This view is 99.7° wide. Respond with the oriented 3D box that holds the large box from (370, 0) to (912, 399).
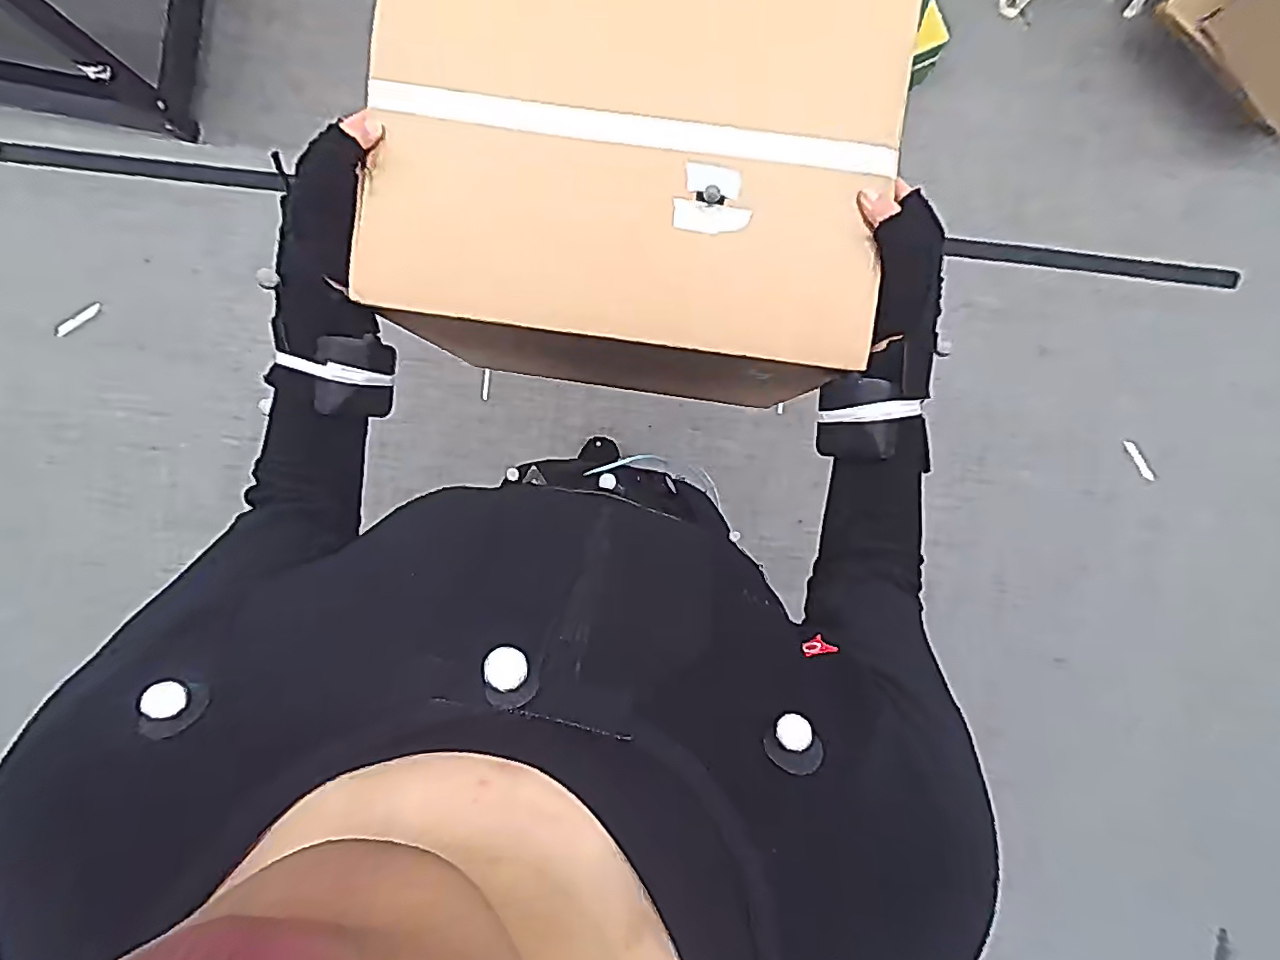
[{"bbox_3d":[-0.004,-0.276,0.572,0.408,0.320,0.320,8,93,-1],"label":"large box"}]
